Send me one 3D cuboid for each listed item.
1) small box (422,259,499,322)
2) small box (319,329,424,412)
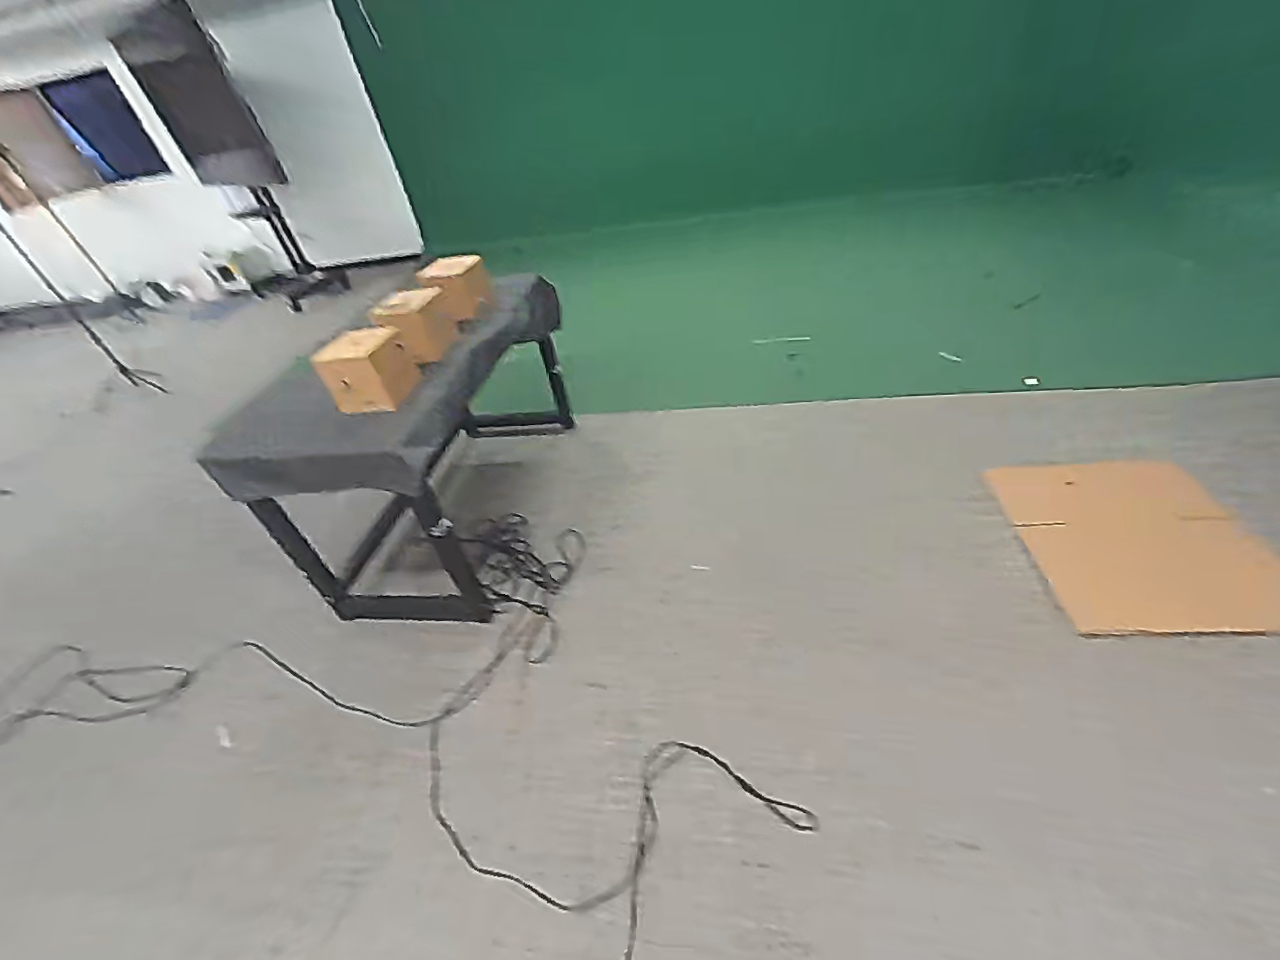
[{"bbox_3d":[-0.640,-0.677,1.945,0.179,0.176,0.168,3,42,17],"label":"small box"},{"bbox_3d":[-0.732,-0.298,1.499,0.168,0.176,0.179,-2,39,12],"label":"small box"}]
